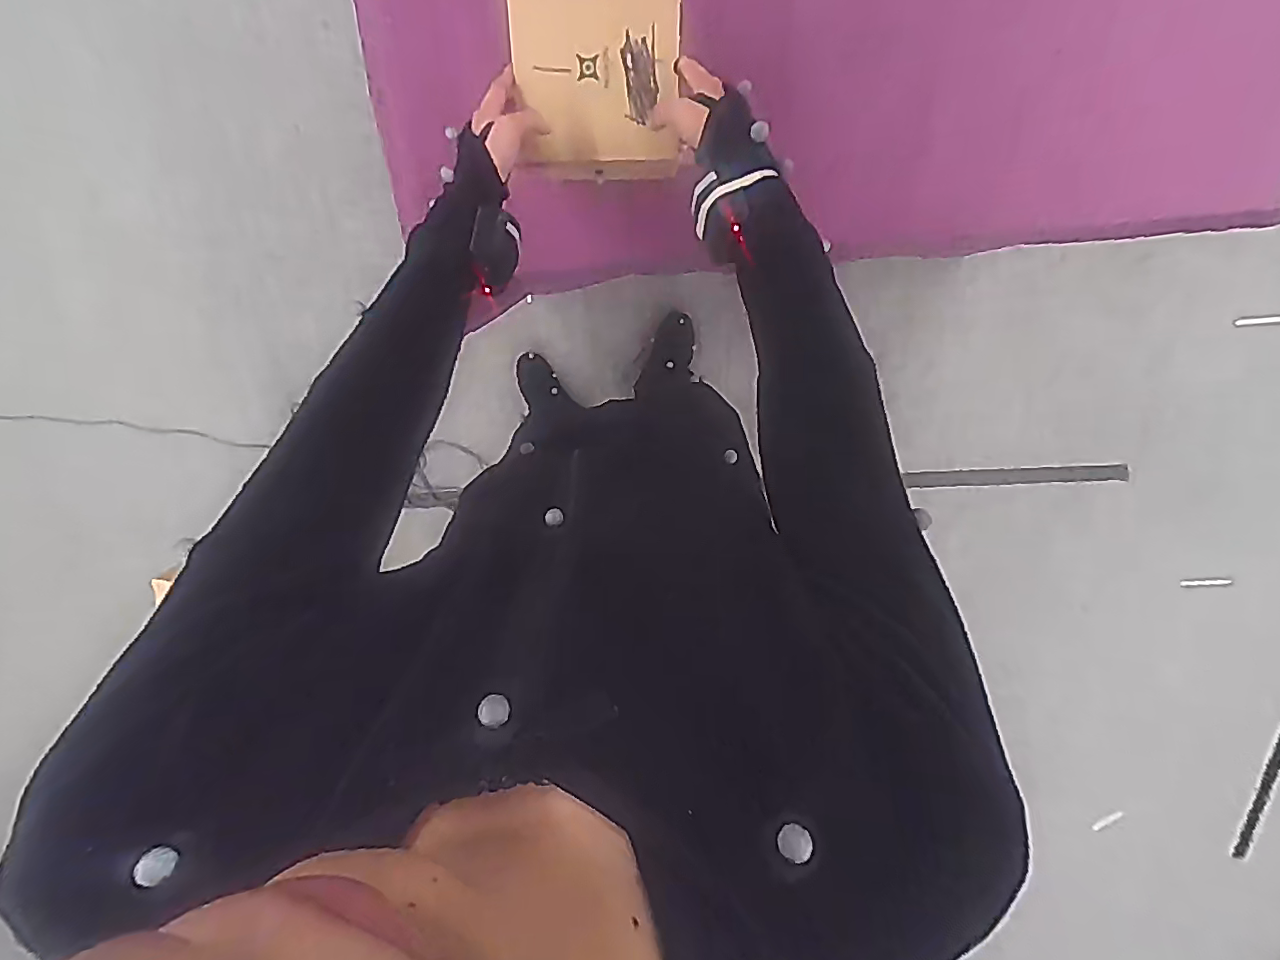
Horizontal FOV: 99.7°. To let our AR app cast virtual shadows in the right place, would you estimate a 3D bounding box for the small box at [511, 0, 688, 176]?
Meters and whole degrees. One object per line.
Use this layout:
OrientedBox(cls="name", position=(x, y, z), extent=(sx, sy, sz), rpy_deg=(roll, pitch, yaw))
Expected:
OrientedBox(cls="small box", position=(-0.038, -0.456, 0.624), extent=(0.179, 0.176, 0.168), rpy_deg=(0, 113, 2))
